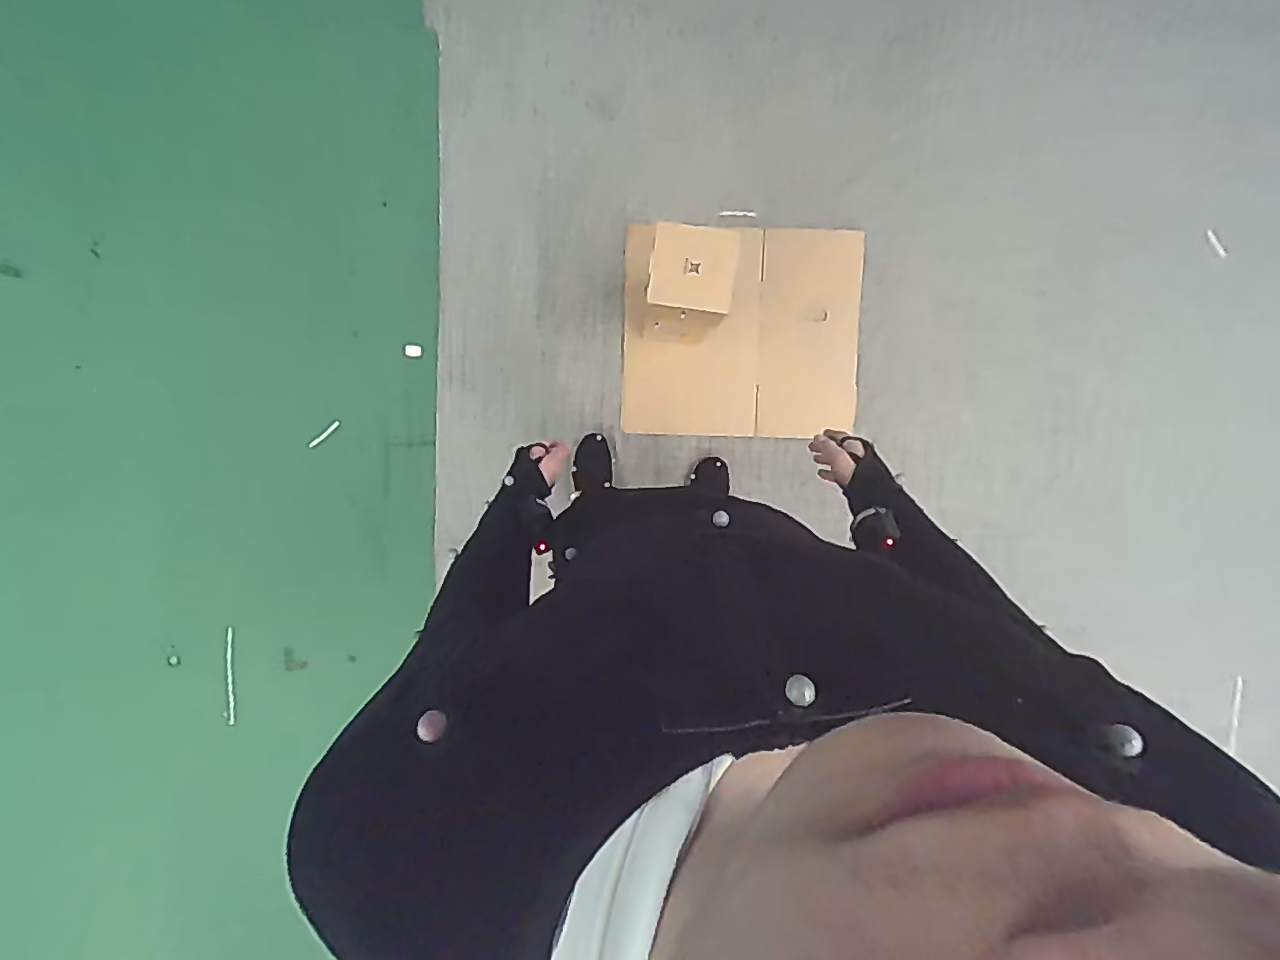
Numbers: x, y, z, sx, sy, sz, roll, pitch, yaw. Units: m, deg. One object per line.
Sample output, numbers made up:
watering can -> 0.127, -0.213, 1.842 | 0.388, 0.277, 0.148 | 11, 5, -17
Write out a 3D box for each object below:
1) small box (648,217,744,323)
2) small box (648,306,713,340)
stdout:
small box -> 0.116, -0.449, 1.182 | 0.179, 0.176, 0.168 | 8, 96, 0
small box -> 0.118, -0.493, 1.507 | 0.179, 0.176, 0.168 | 6, 95, 0
